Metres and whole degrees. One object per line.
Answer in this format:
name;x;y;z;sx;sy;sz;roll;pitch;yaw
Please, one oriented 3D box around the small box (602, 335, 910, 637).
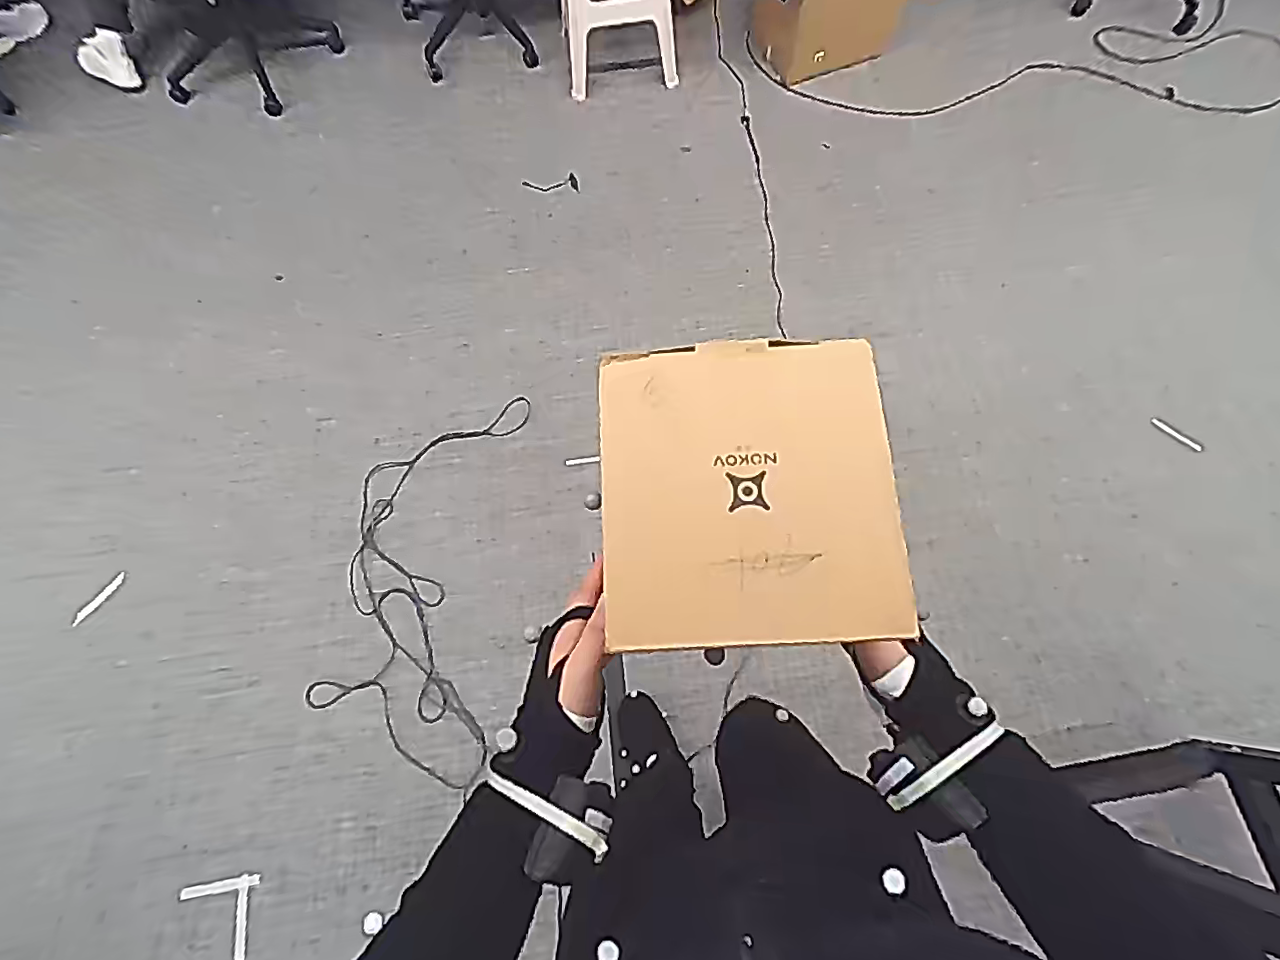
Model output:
small box;0.062;0.018;0.389;0.168;0.176;0.179;-4;76;1
